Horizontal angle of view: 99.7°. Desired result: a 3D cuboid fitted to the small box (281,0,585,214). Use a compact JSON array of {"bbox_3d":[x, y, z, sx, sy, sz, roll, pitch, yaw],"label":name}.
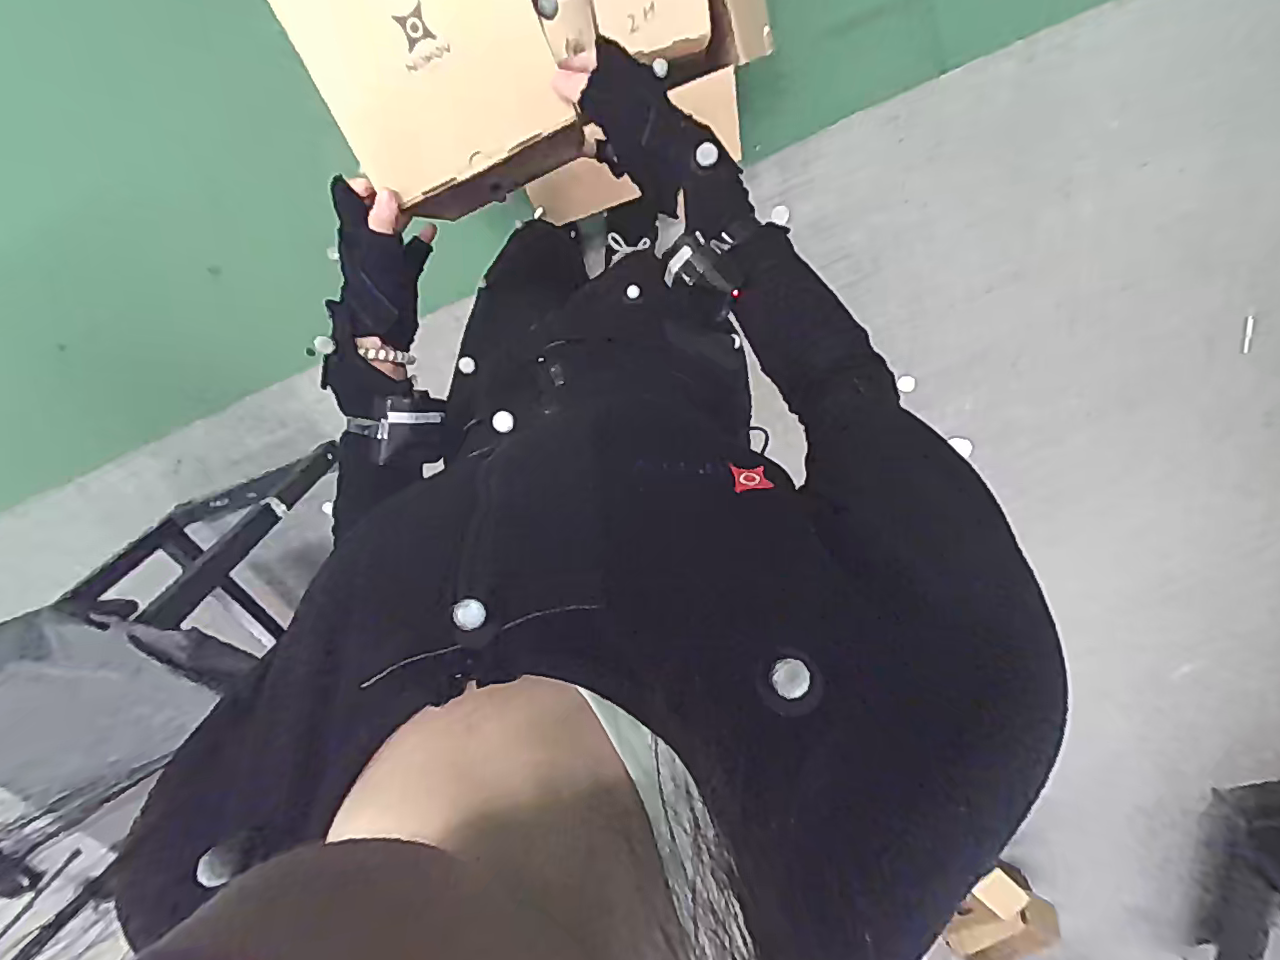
[{"bbox_3d":[-0.155,-0.343,0.449,0.168,0.176,0.179,-23,114,6],"label":"small box"}]
